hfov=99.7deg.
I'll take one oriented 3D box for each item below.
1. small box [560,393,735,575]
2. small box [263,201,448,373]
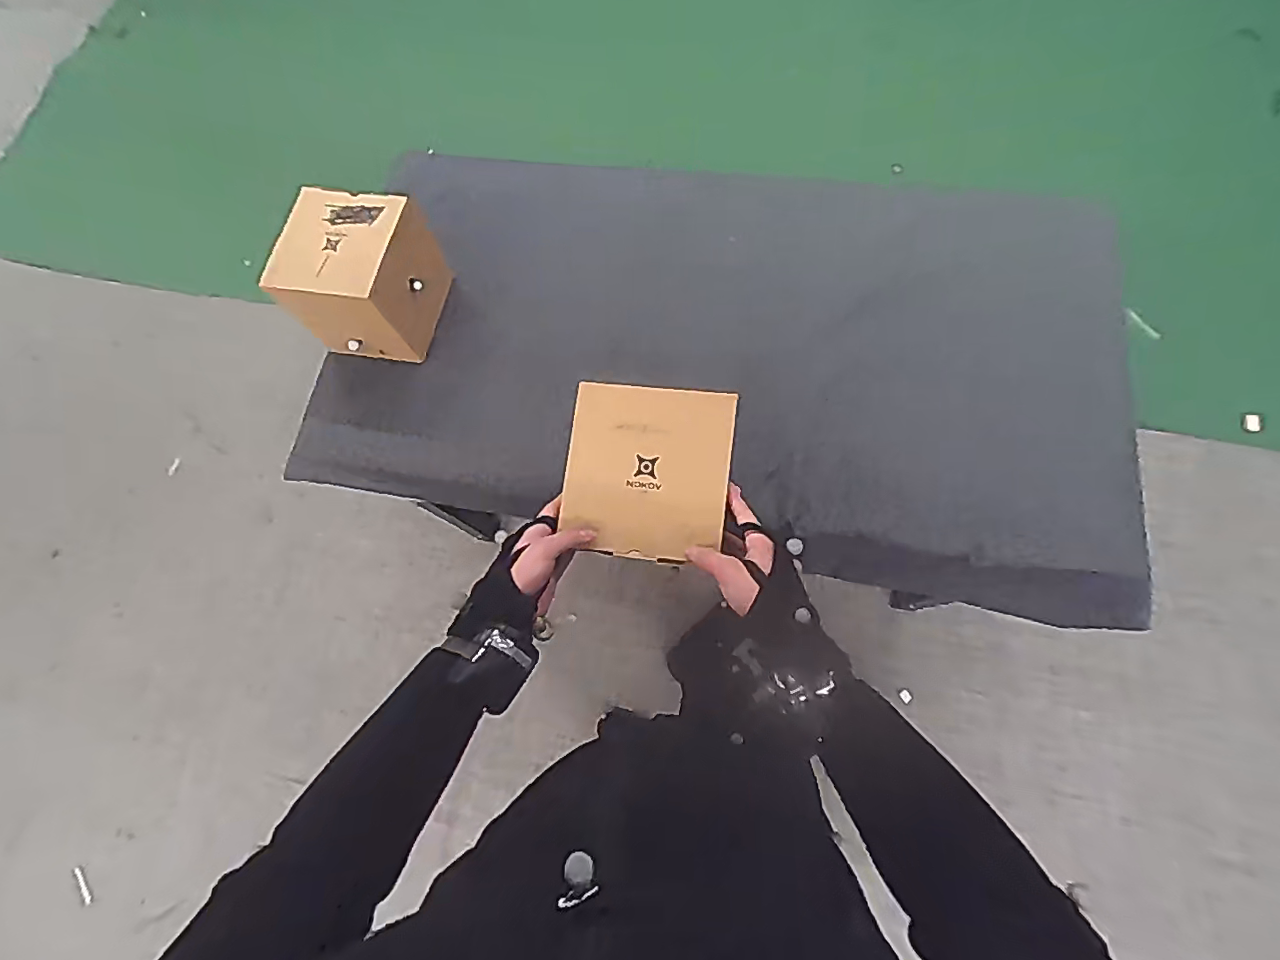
[{"bbox_3d":[0.017,0.013,0.629,0.168,0.176,0.179,6,80,7],"label":"small box"},{"bbox_3d":[-0.417,-0.289,0.829,0.168,0.176,0.179,8,73,7],"label":"small box"}]
